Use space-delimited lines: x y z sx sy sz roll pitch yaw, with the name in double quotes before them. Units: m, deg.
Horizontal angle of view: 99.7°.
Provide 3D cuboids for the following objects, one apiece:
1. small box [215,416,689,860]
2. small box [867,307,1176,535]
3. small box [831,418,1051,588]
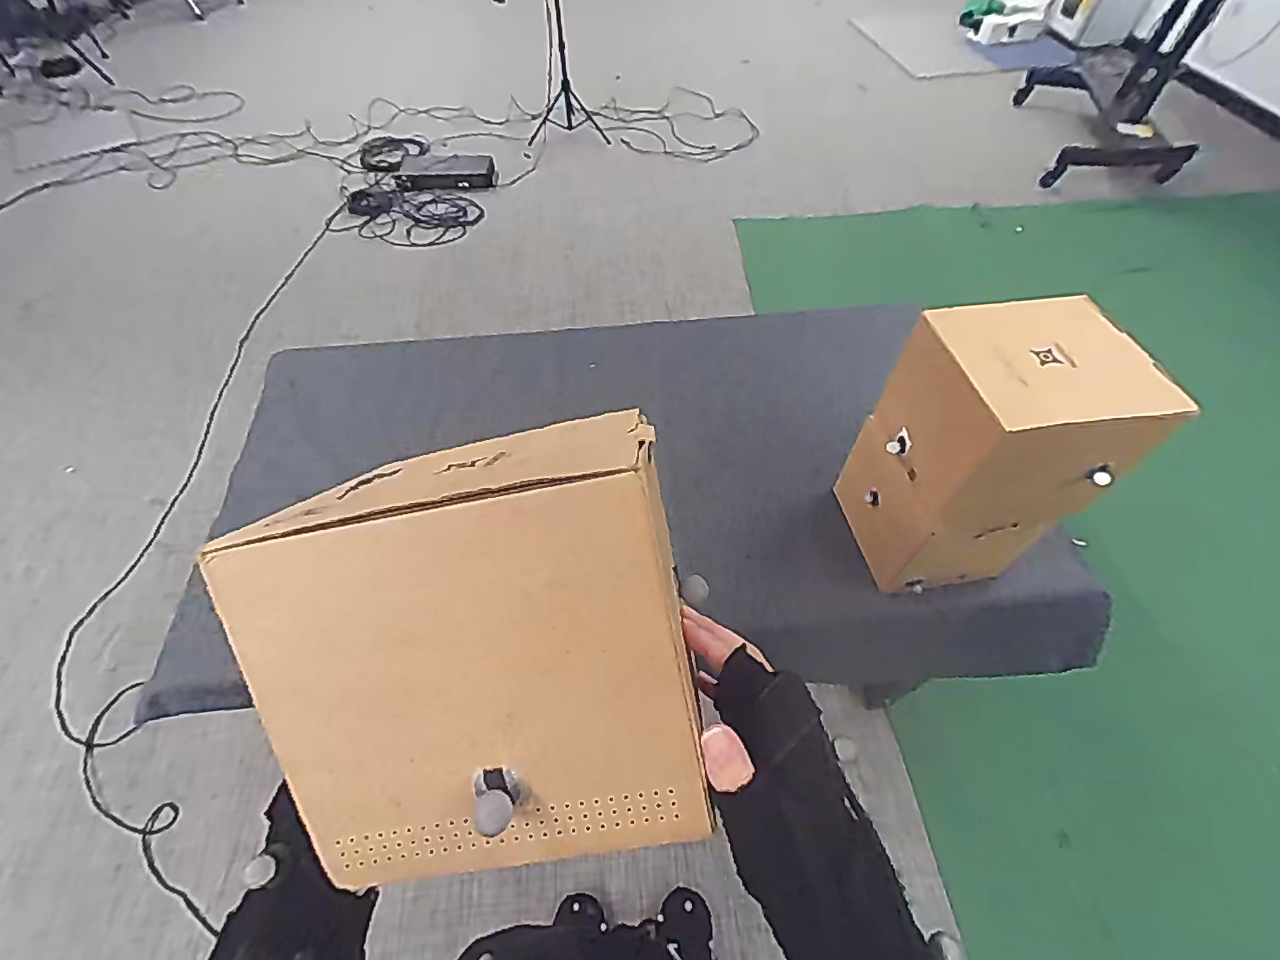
"small box" -0.069 0.070 0.305 0.179 0.176 0.168 -10 13 3
"small box" 0.375 -0.058 0.576 0.179 0.176 0.168 -7 53 -3
"small box" 0.376 0.029 0.712 0.168 0.176 0.179 -8 54 -5
